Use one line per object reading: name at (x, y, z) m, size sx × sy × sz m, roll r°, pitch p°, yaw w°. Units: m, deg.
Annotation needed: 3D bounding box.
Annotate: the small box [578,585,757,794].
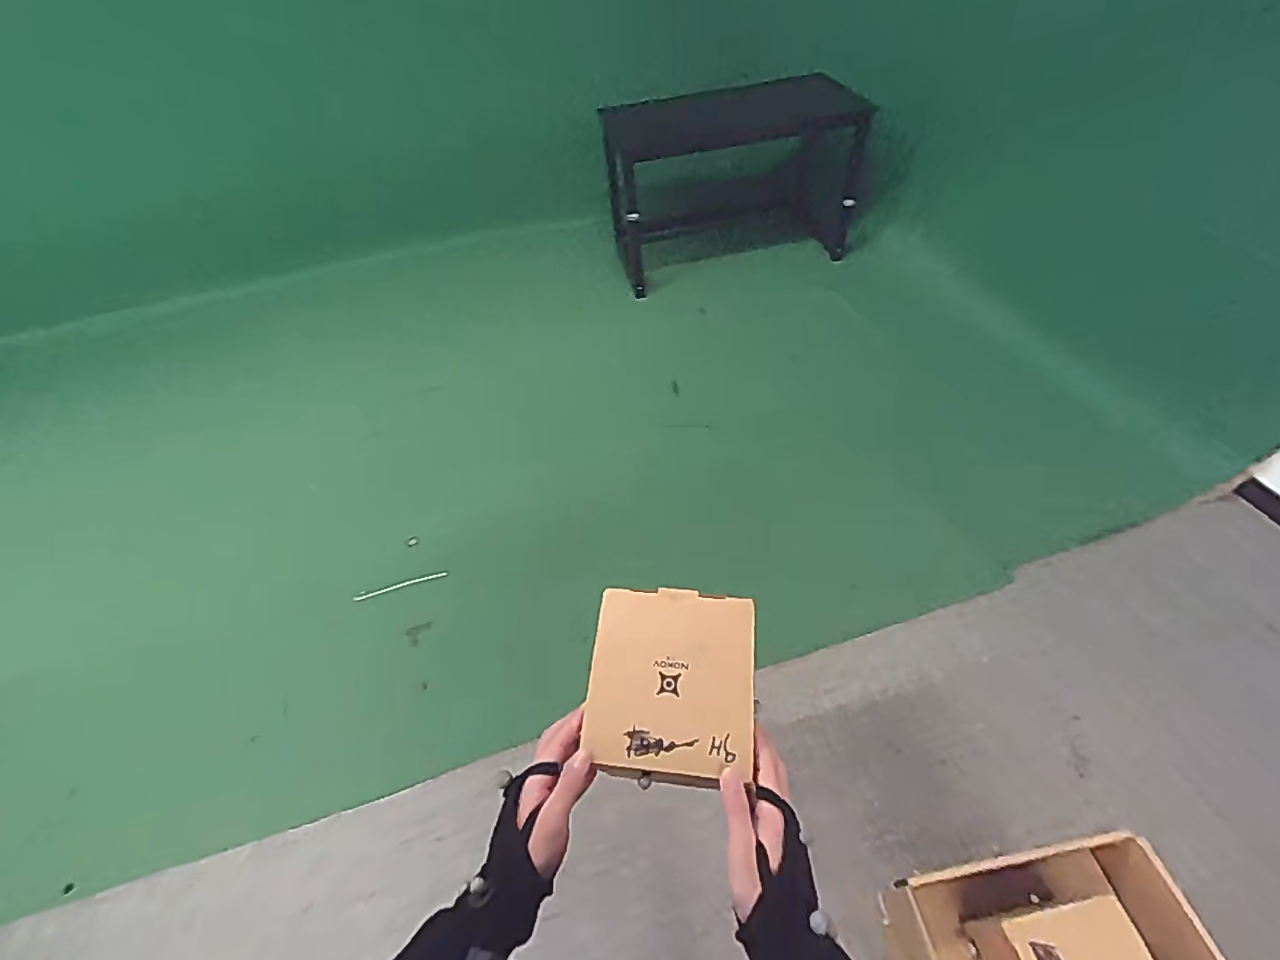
small box at (0.039, 0.235, 0.602) m, size 0.168 × 0.176 × 0.179 m, roll 3°, pitch 58°, yaw 8°
